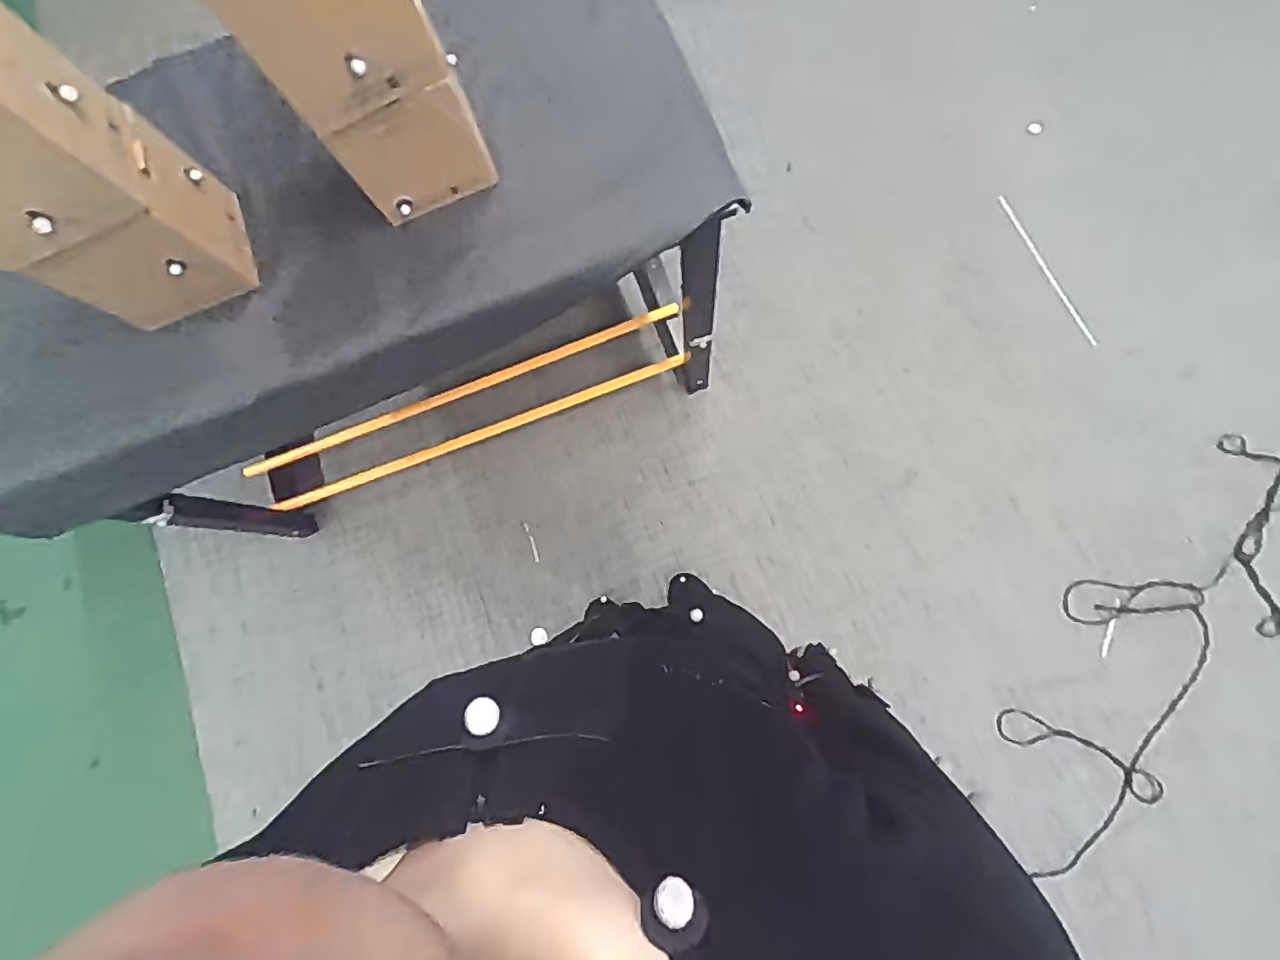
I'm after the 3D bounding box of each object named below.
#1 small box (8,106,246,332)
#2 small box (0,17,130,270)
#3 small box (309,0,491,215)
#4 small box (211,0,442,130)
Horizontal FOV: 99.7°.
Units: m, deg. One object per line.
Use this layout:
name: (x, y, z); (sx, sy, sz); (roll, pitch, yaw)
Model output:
small box: (-0.657, -0.325, 0.705); (0.179, 0.176, 0.168); (-23, 77, 1)
small box: (-0.669, -0.351, 0.542); (0.179, 0.176, 0.168); (-25, 77, -1)
small box: (-0.317, -0.480, 0.704); (0.168, 0.176, 0.179); (-22, 77, 0)
small box: (-0.333, -0.508, 0.543); (0.168, 0.176, 0.179); (-28, 78, 0)
